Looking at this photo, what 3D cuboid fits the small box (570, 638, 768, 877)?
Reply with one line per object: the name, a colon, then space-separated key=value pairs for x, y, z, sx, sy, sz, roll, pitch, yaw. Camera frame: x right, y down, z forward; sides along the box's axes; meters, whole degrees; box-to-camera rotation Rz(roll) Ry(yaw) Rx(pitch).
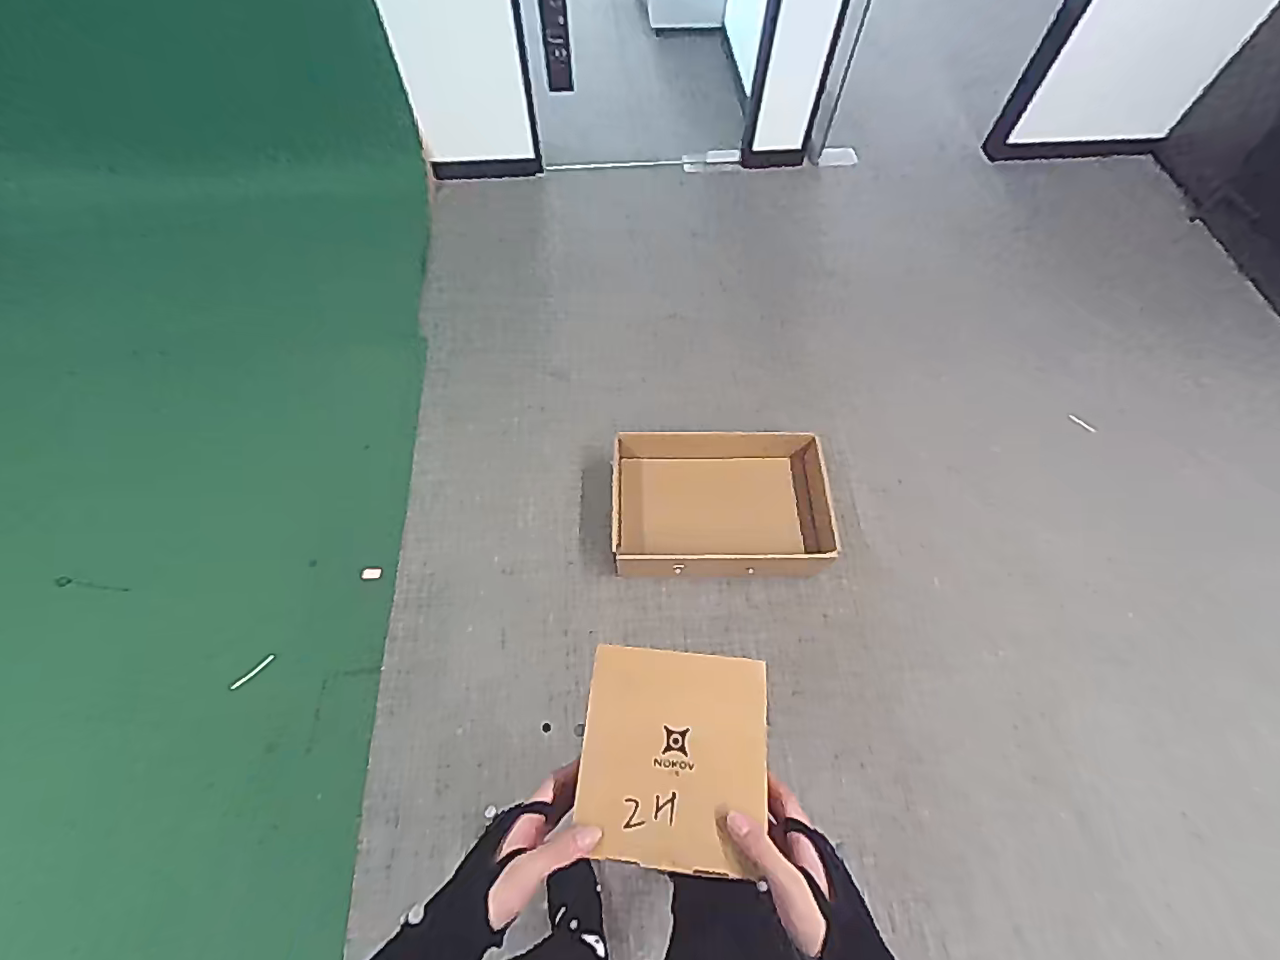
small box: x=0.033 y=0.276 z=0.551 sx=0.168 sy=0.176 sz=0.179 roll=5 pitch=61 yaw=5
